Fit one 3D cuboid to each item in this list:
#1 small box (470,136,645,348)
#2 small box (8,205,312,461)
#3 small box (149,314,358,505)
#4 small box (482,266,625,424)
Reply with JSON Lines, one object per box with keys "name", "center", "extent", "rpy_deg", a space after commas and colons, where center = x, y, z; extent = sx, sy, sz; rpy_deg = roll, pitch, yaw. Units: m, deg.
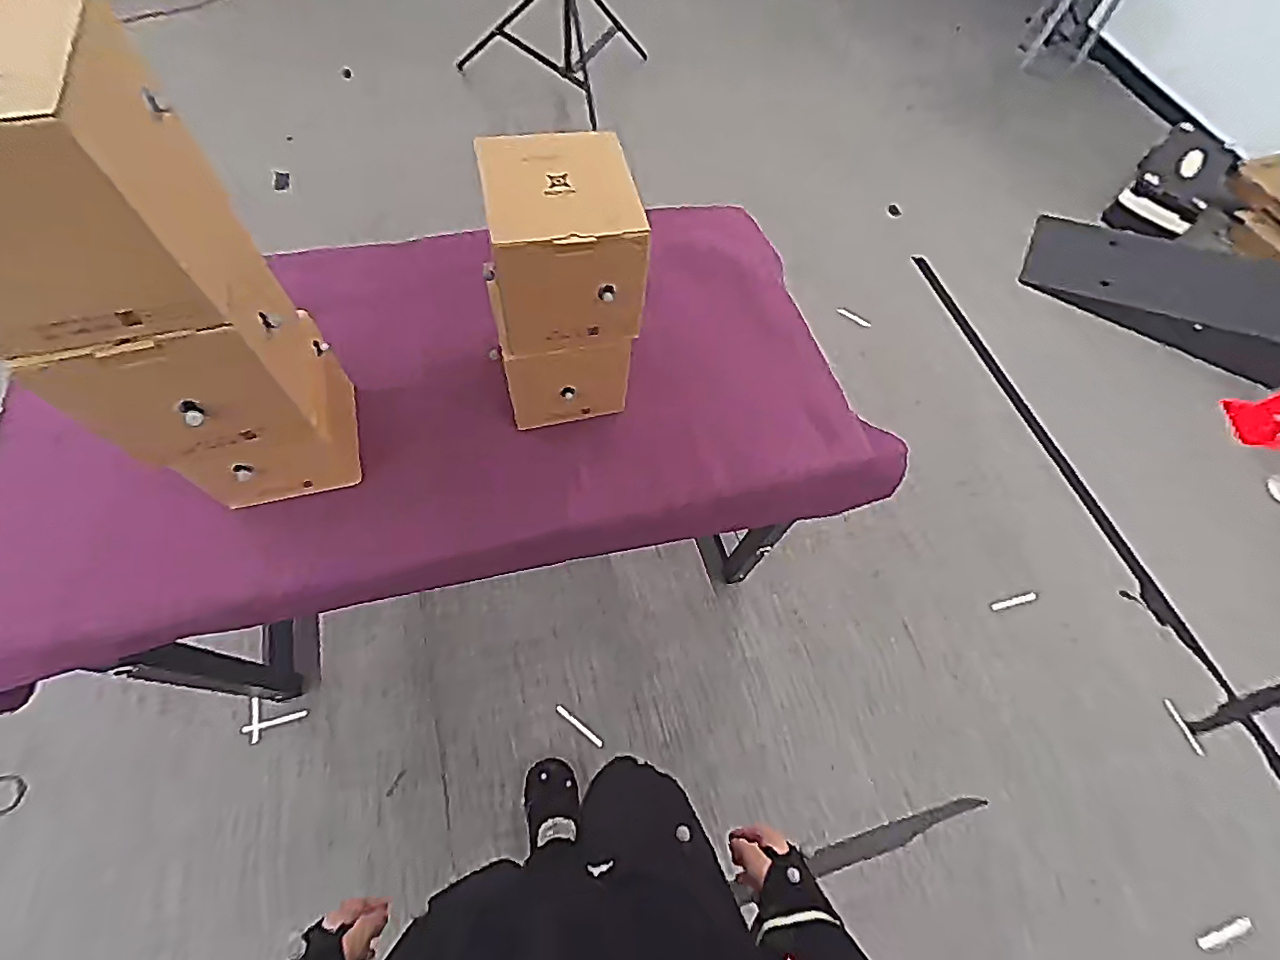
{"name": "small box", "center": [-0.099, -0.277, 0.655], "extent": [0.168, 0.176, 0.179], "rpy_deg": [-11, 64, -12]}
{"name": "small box", "center": [-0.460, -0.136, 0.548], "extent": [0.168, 0.176, 0.179], "rpy_deg": [-17, 67, -14]}
{"name": "small box", "center": [-0.485, -0.081, 0.702], "extent": [0.168, 0.176, 0.179], "rpy_deg": [-13, 65, -12]}
{"name": "small box", "center": [-0.124, -0.198, 0.795], "extent": [0.168, 0.176, 0.179], "rpy_deg": [-12, 65, -12]}
